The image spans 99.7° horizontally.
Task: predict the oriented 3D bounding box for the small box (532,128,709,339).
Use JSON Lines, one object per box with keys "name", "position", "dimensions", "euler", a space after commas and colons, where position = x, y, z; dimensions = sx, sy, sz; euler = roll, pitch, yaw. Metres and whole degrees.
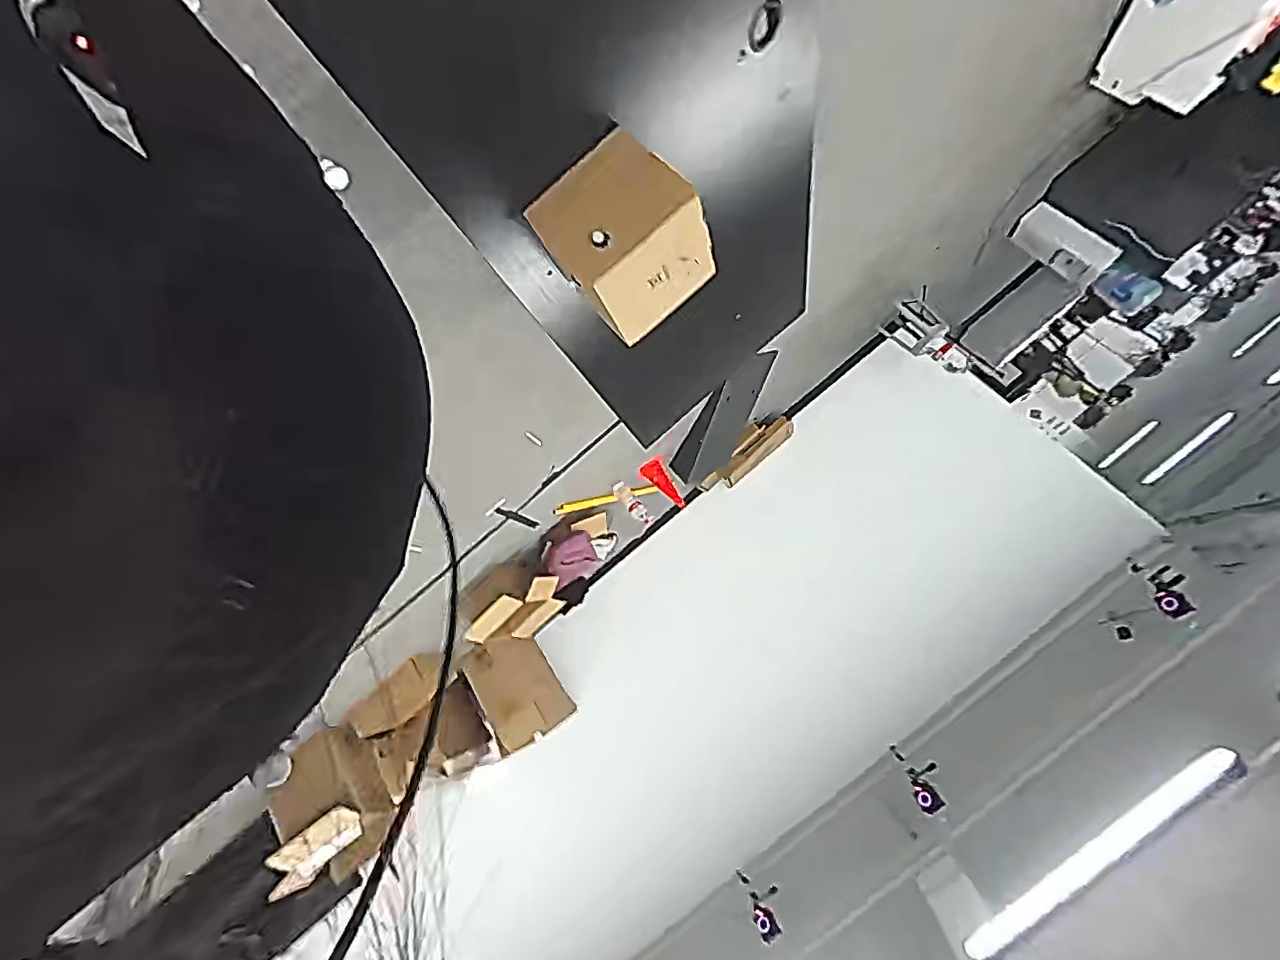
{"name": "small box", "position": [-0.030, -0.347, 0.775], "dimensions": [0.179, 0.176, 0.168], "euler": [-42, 160, 3]}
